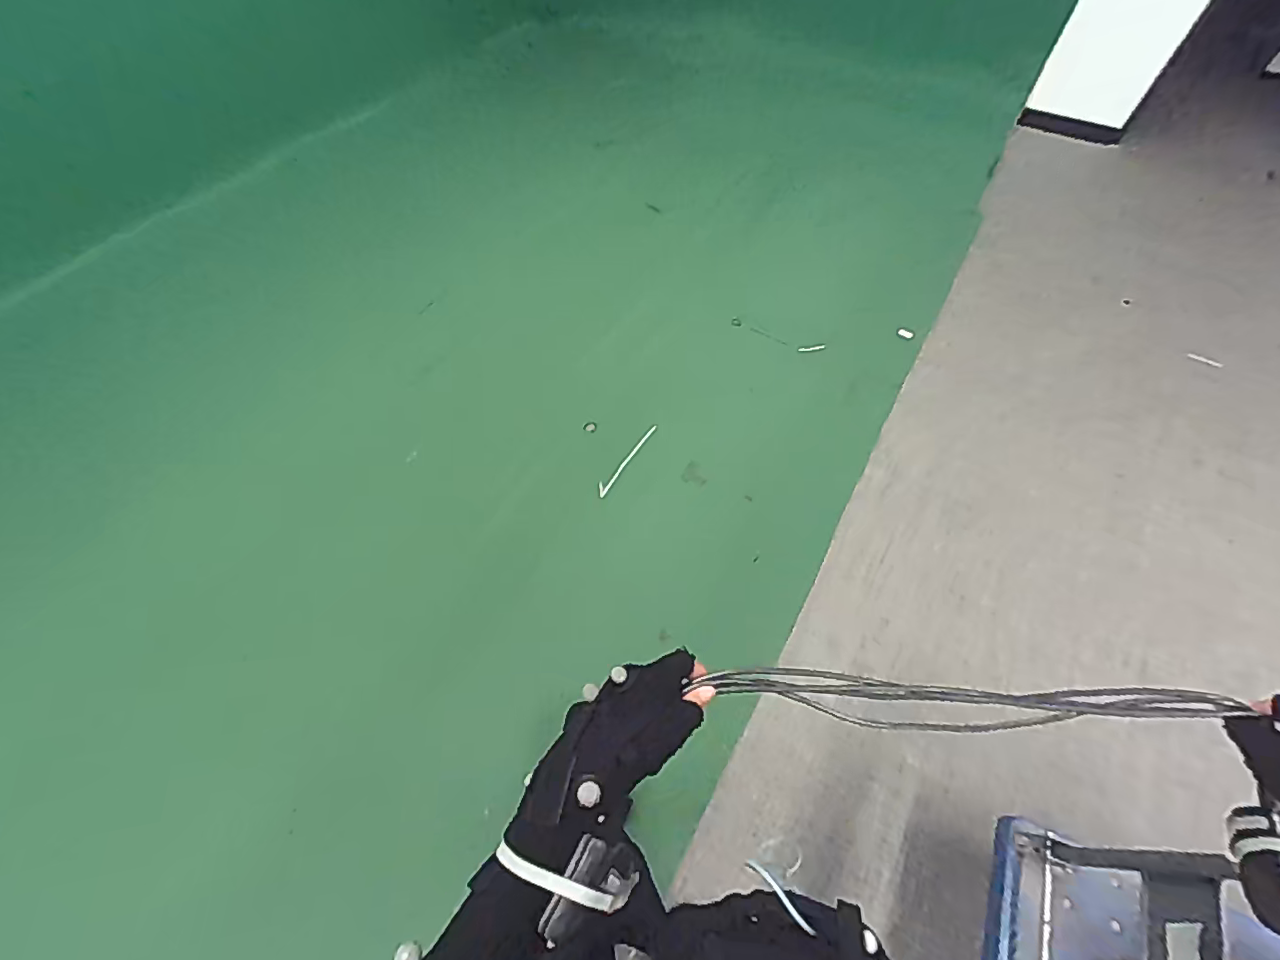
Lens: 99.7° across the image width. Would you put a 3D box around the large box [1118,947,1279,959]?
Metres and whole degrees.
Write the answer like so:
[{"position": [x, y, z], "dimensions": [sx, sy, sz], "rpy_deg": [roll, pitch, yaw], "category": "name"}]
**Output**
[{"position": [0.986, 0.923, 0.726], "dimensions": [0.320, 0.320, 0.408], "rpy_deg": [2, 57, 1], "category": "large box"}]
